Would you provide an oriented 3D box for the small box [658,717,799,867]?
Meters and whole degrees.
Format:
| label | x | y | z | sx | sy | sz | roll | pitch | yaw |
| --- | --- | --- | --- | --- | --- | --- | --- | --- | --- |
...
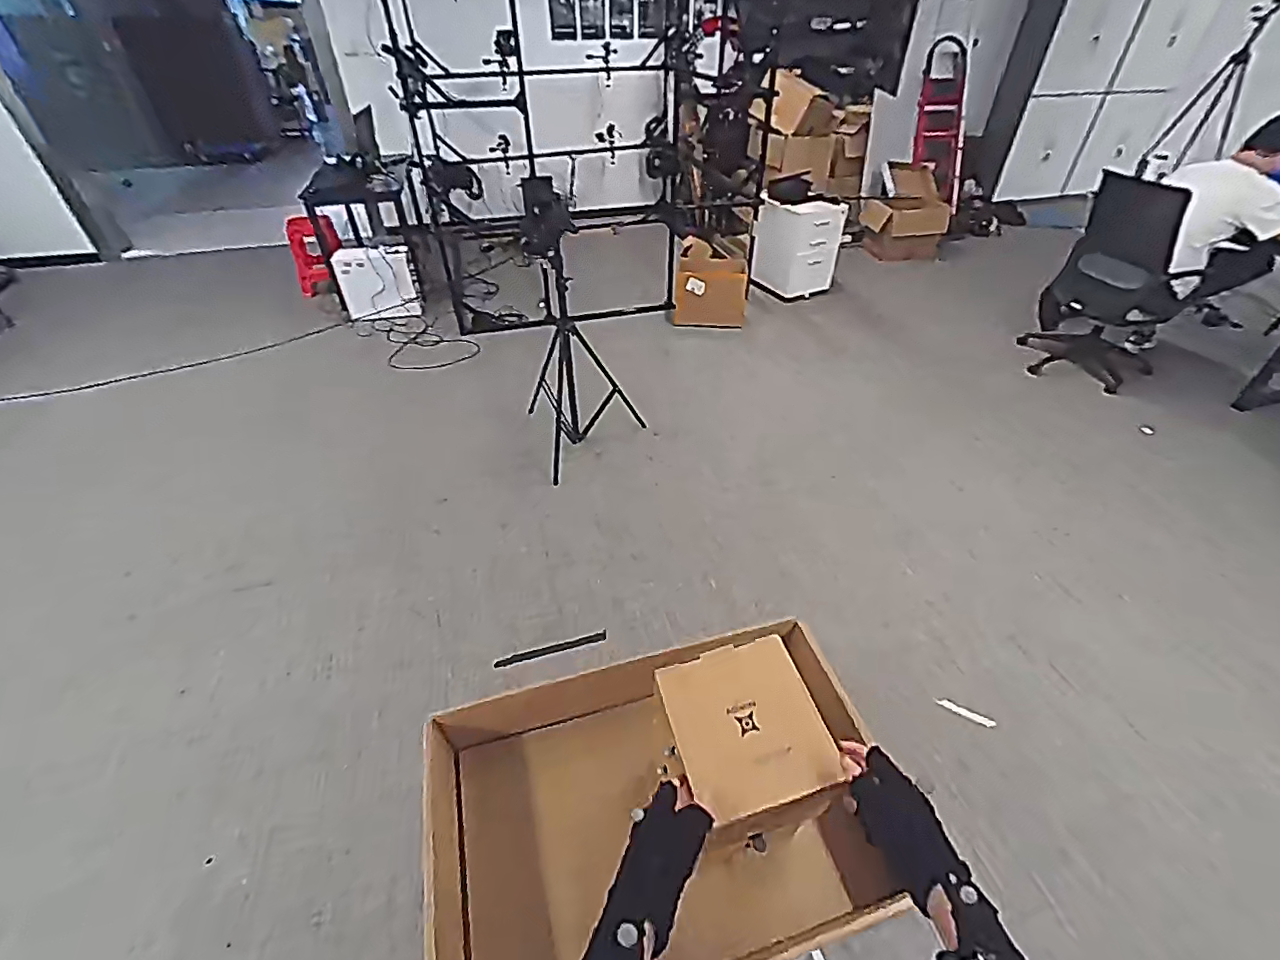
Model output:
| label | x | y | z | sx | sy | sz | roll | pitch | yaw |
| --- | --- | --- | --- | --- | --- | --- | --- | --- | --- |
| small box | 0.130 | 0.432 | 0.788 | 0.179 | 0.176 | 0.168 | -13 | 47 | -11 |

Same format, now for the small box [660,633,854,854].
| label | x | y | z | sx | sy | sz | roll | pitch | yaw |
| --- | --- | --- | --- | --- | --- | --- | --- | --- | --- |
| small box | 0.126 | 0.324 | 0.666 | 0.168 | 0.176 | 0.179 | -14 | 48 | -9 |
